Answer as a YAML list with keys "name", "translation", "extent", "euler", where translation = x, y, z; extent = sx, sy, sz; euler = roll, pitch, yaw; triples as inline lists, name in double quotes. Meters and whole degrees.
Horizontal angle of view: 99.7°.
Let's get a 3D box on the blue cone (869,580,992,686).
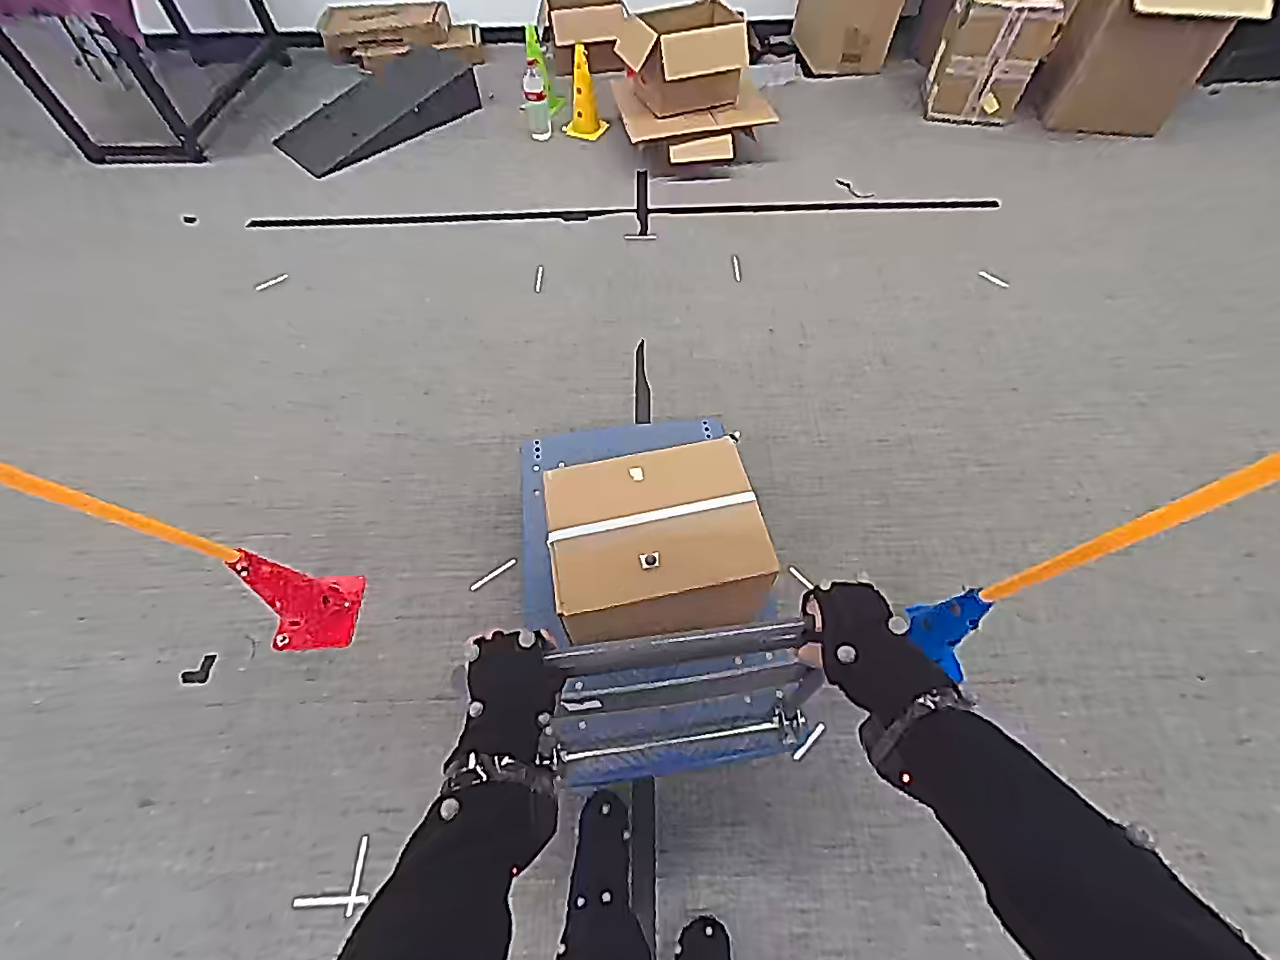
- name: "blue cone"
  translation: [0.694, 0.329, 1.235]
  extent: [0.193, 0.380, 0.192]
  euler: [-4, 56, -2]
